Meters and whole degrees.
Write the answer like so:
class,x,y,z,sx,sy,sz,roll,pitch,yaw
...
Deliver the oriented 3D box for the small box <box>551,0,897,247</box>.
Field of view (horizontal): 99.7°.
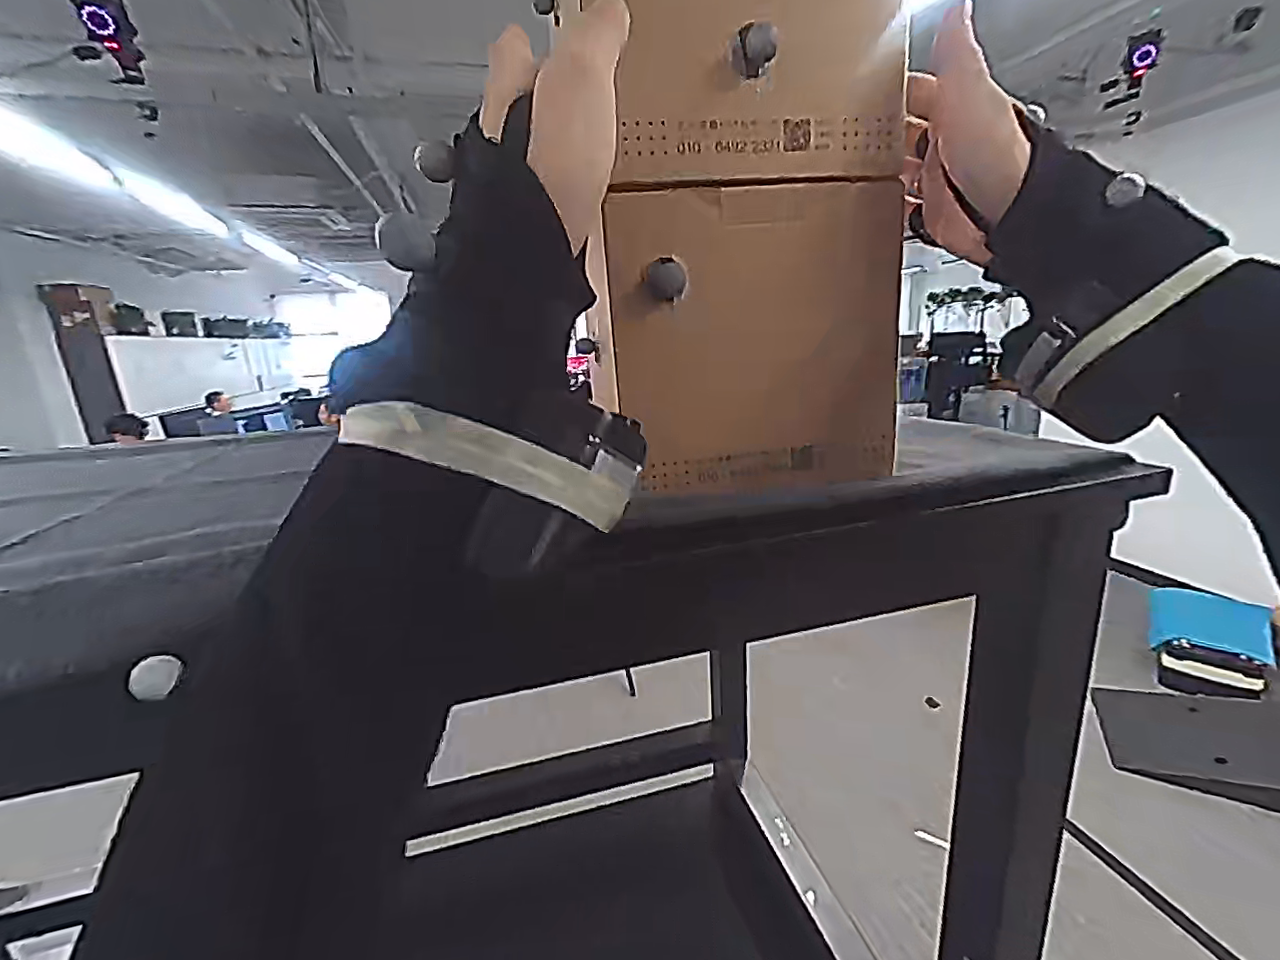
class,x,y,z,sx,sy,sz,roll,pitch,yaw
small box,0.035,-0.250,0.337,0.168,0.176,0.179,-8,15,-9
